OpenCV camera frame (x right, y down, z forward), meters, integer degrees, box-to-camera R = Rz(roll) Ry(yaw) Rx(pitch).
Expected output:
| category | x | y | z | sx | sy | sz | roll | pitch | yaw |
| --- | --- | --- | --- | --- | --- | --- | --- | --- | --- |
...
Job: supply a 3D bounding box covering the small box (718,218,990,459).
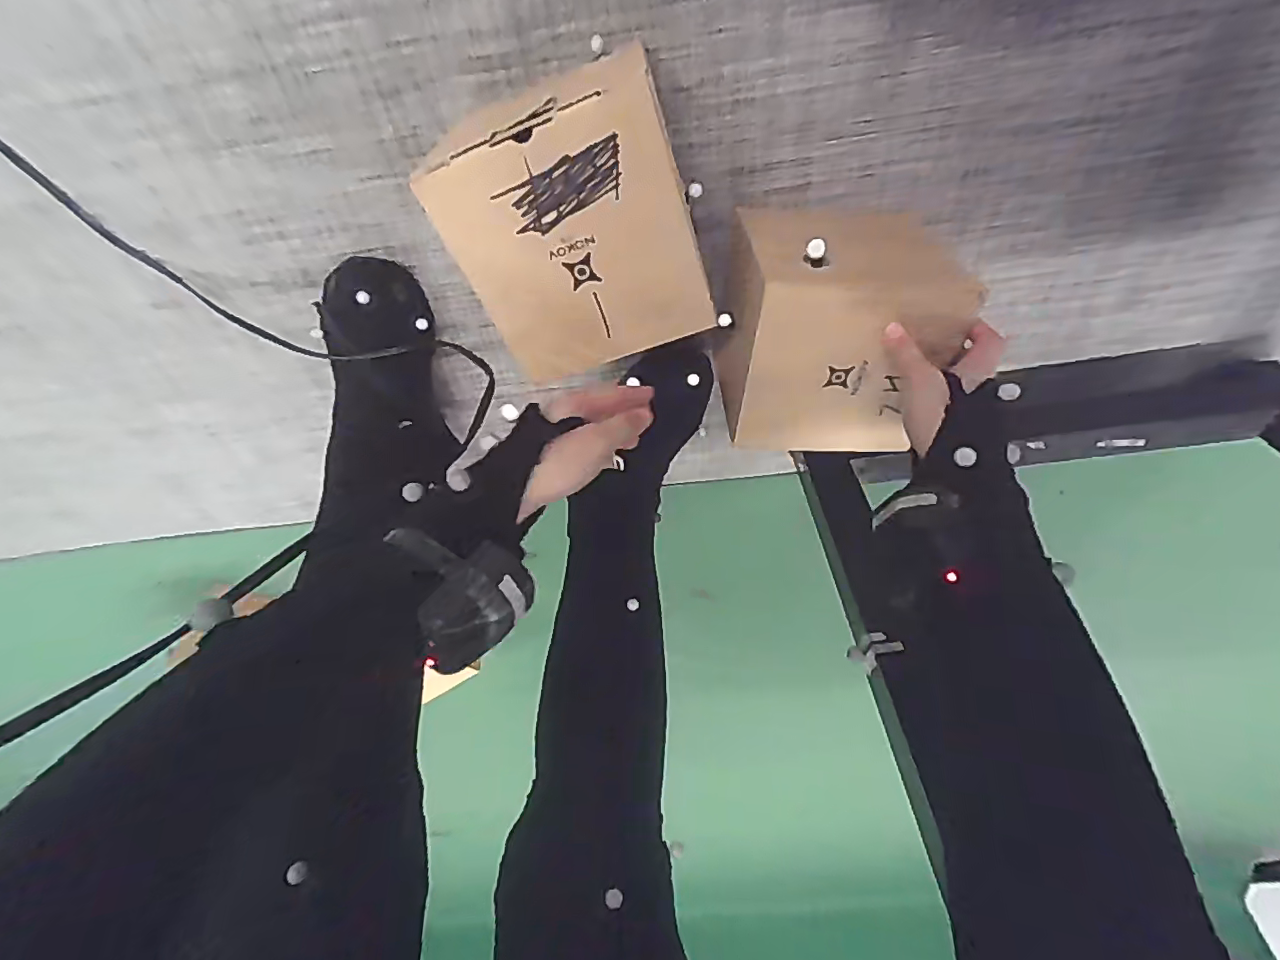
| category | x | y | z | sx | sy | sz | roll | pitch | yaw |
| --- | --- | --- | --- | --- | --- | --- | --- | --- | --- |
| small box | 0.176 | -0.137 | 0.519 | 0.179 | 0.176 | 0.168 | 0 | 134 | -2 |
